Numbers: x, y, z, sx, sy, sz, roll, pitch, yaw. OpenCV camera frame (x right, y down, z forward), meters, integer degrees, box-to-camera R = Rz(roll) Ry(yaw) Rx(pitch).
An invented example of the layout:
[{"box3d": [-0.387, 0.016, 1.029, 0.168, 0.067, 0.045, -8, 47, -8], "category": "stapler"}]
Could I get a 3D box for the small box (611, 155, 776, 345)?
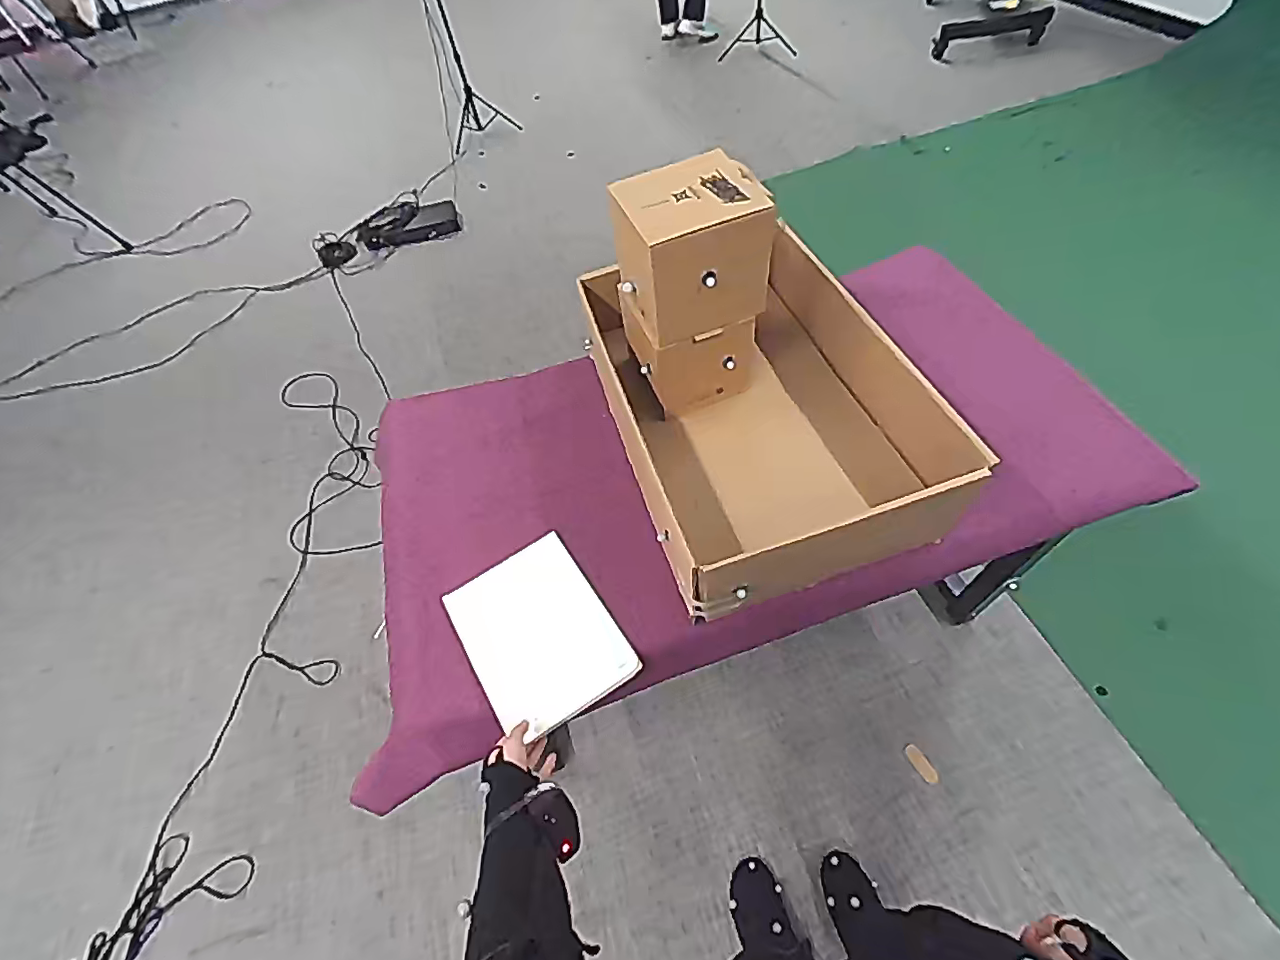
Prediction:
[{"box3d": [0.072, -0.326, 0.779, 0.179, 0.176, 0.168, -20, 56, -6], "category": "small box"}]
